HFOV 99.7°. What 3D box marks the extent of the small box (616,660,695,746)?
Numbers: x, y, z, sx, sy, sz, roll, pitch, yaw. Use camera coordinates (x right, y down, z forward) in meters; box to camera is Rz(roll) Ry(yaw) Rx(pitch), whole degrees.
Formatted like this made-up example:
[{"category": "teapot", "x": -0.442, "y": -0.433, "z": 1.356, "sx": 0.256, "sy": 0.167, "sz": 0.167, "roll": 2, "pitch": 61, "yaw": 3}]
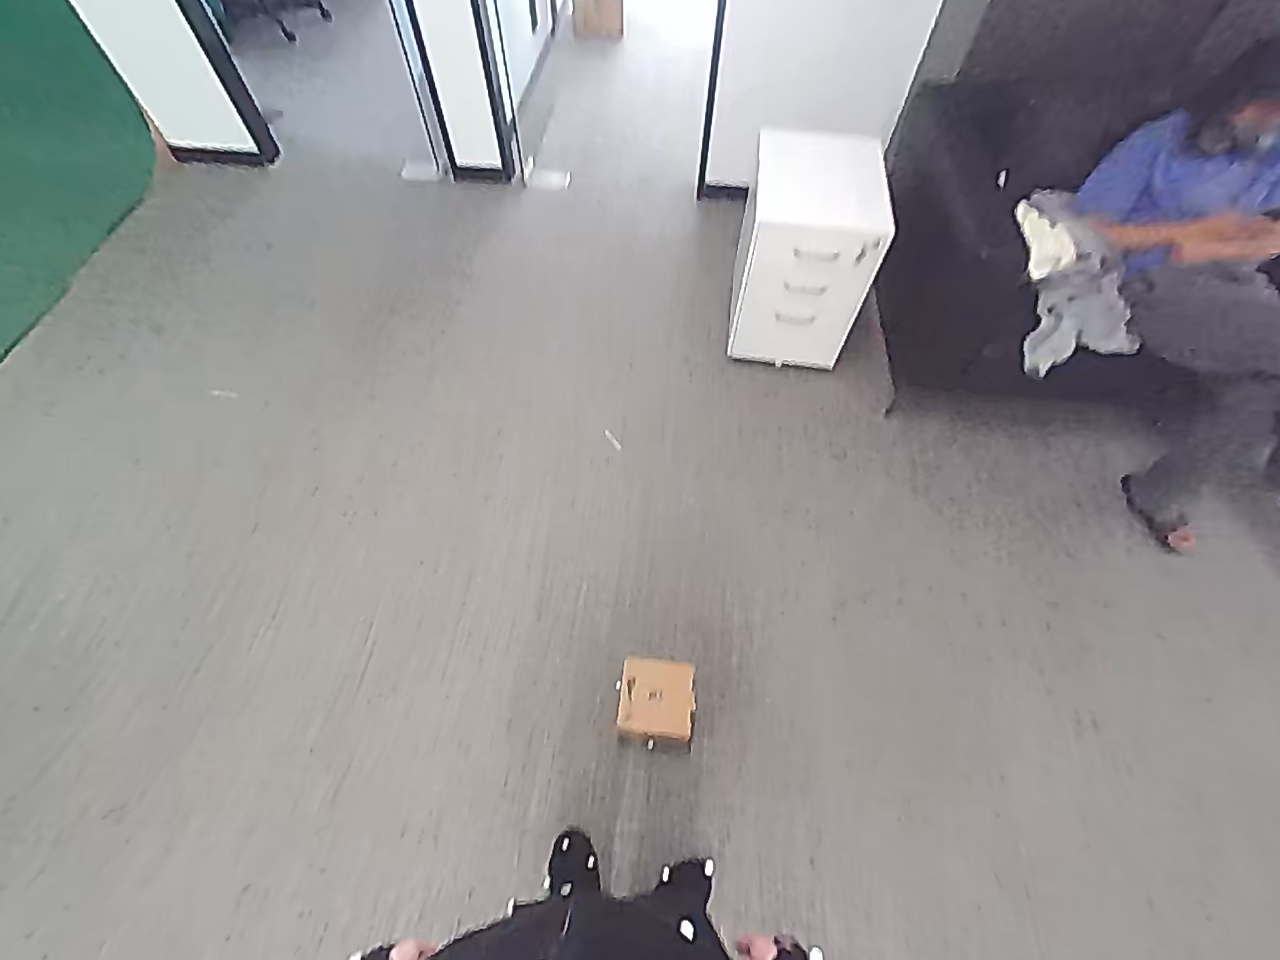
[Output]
[{"category": "small box", "x": 0.036, "y": 0.568, "z": 1.365, "sx": 0.179, "sy": 0.176, "sz": 0.168, "roll": 7, "pitch": 58, "yaw": 1}]
